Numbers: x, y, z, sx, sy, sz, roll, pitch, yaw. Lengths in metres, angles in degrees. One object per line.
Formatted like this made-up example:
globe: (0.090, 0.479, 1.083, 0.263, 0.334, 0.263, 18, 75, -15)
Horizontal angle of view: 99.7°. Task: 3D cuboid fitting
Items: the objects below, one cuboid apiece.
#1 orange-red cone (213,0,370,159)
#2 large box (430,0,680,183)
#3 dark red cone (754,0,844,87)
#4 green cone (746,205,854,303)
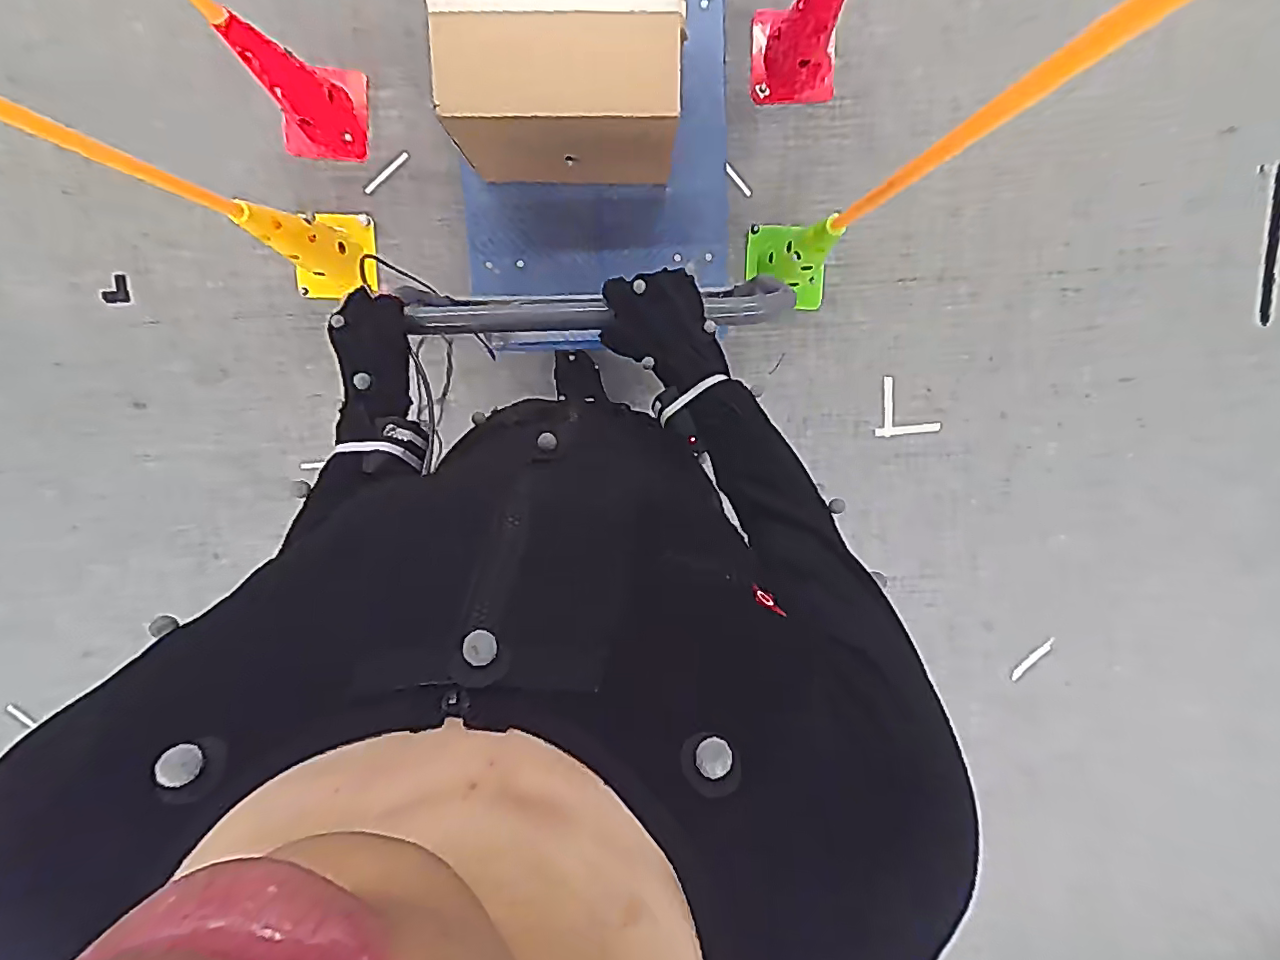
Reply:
orange-red cone: (-0.750, -0.865, 1.137, 0.198, 0.360, 0.199, 4, 98, -2)
large box: (-0.136, -0.775, 1.013, 0.408, 0.320, 0.320, -1, 101, 0)
dark red cone: (0.375, -1.002, 1.105, 0.201, 0.394, 0.202, -3, 100, -2)
green cone: (0.378, -0.527, 1.204, 0.202, 0.368, 0.200, 1, 100, -2)
